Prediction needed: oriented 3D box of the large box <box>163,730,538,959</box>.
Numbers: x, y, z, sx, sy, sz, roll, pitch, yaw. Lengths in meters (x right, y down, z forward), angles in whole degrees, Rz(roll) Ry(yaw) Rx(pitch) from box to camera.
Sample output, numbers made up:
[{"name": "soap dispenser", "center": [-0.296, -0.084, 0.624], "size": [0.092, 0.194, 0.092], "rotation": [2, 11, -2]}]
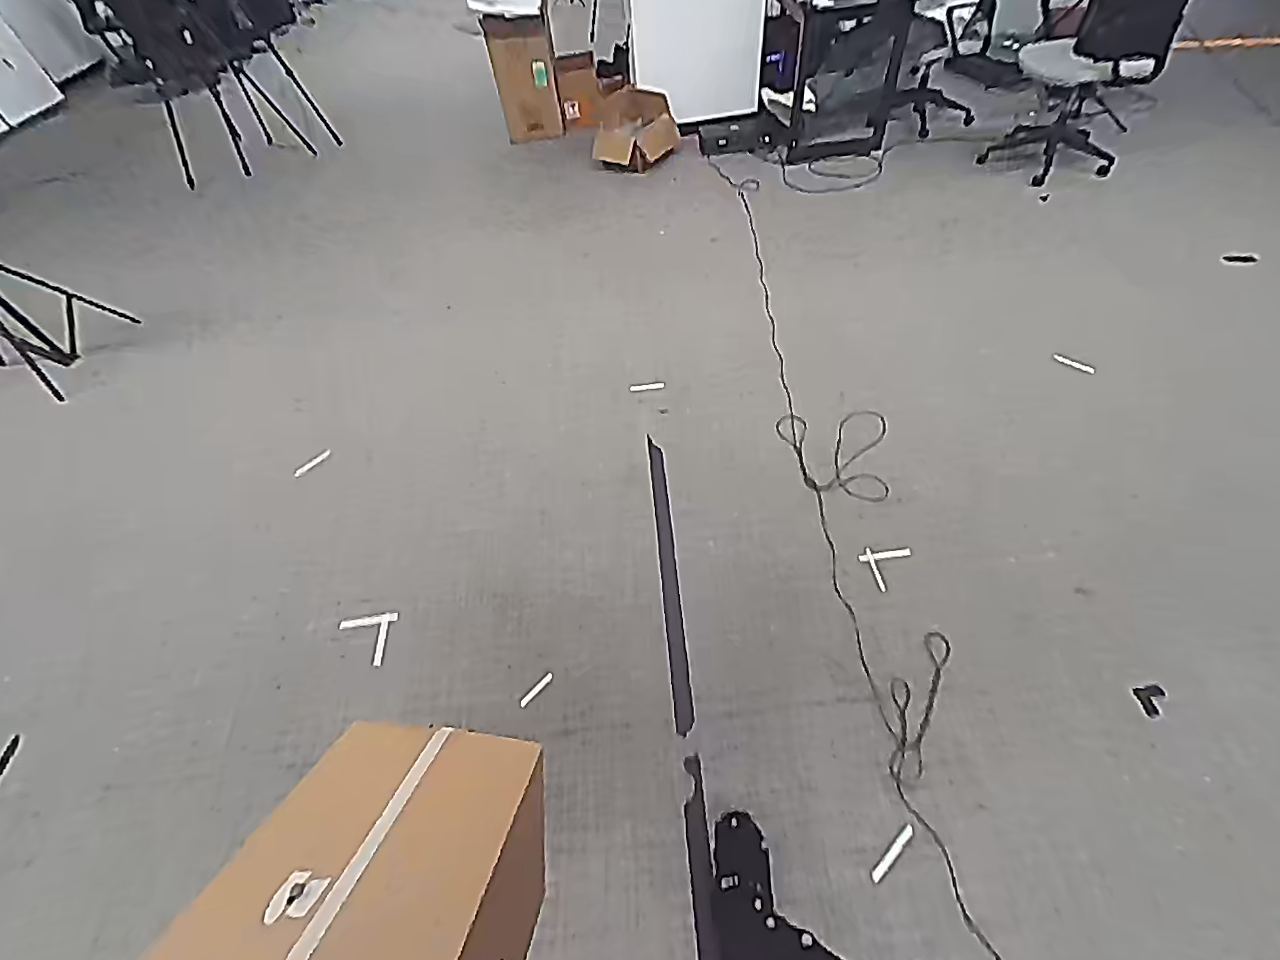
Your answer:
[{"name": "large box", "center": [-0.338, 0.614, 0.719], "size": [0.320, 0.320, 0.408], "rotation": [3, 17, 7]}]
